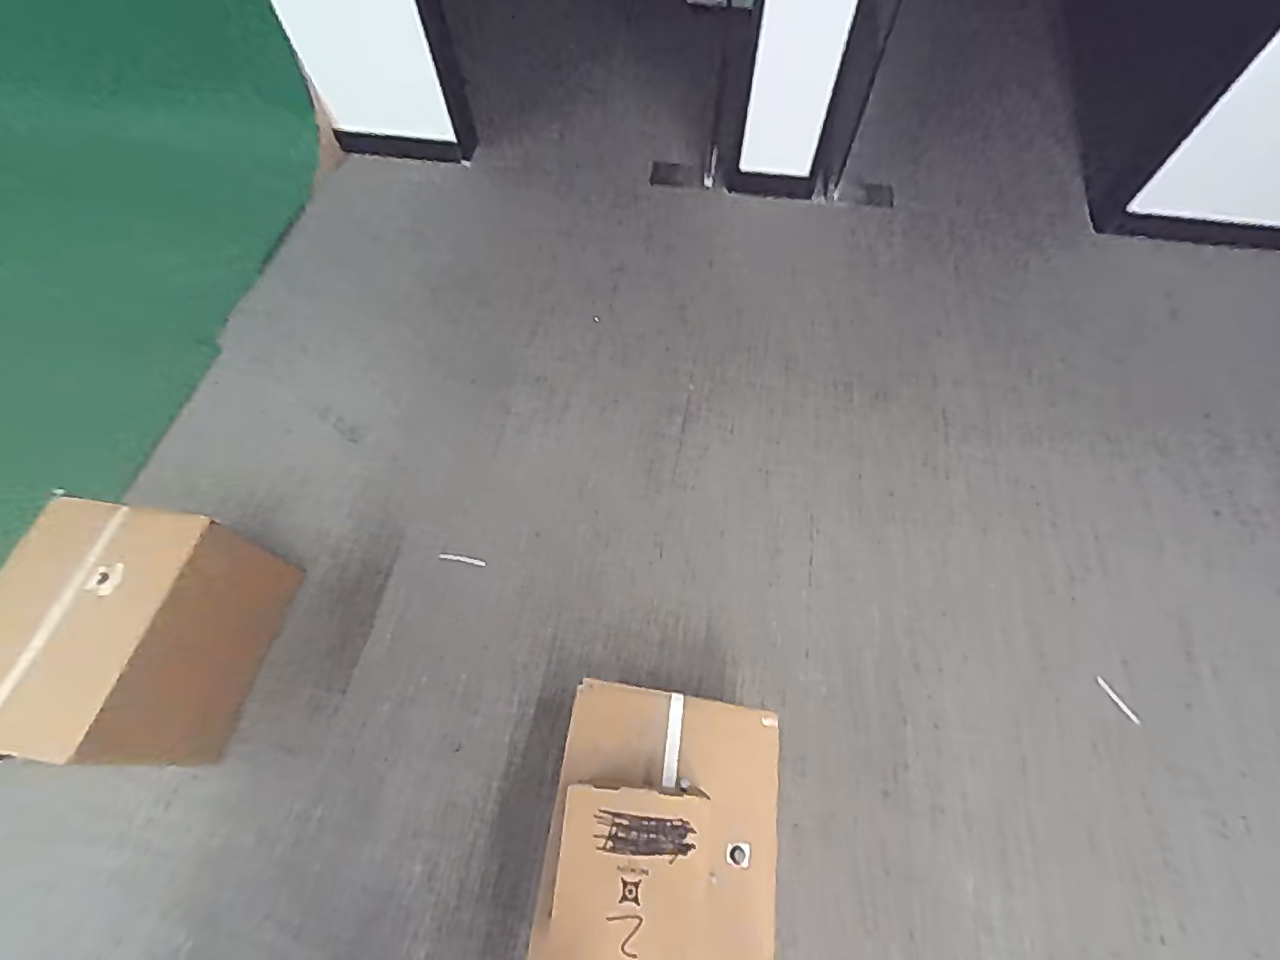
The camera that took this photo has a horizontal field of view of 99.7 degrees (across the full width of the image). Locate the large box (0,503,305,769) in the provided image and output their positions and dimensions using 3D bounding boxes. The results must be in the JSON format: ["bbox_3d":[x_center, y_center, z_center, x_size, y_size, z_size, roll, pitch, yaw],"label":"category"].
[{"bbox_3d":[-0.943,0.304,1.029,0.320,0.320,0.408,8,61,5],"label":"large box"}]
